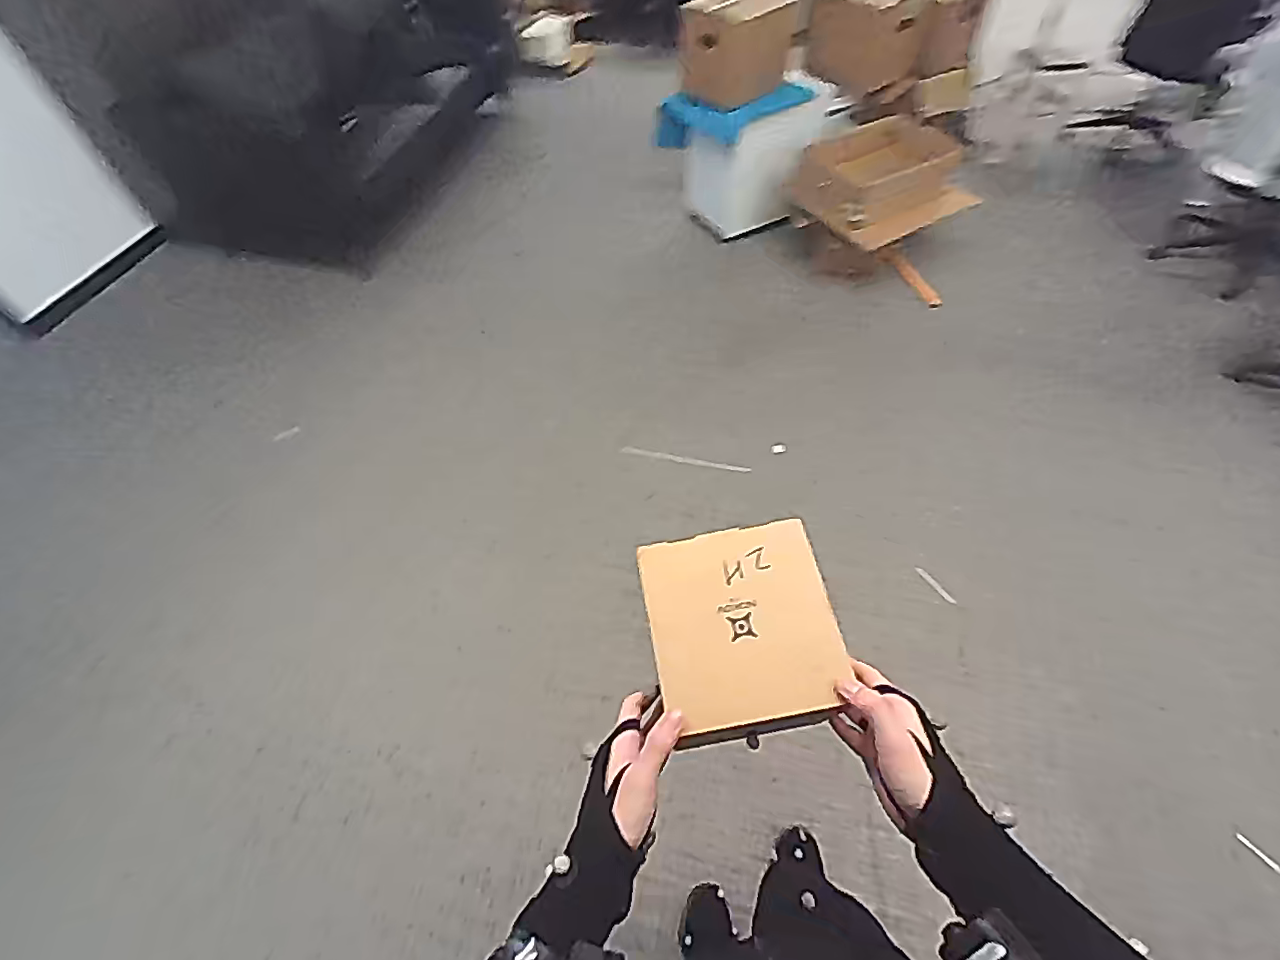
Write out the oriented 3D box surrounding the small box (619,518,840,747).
[{"bbox_3d":[0.076,0.160,0.540,0.168,0.176,0.179,-9,60,-1],"label":"small box"}]
